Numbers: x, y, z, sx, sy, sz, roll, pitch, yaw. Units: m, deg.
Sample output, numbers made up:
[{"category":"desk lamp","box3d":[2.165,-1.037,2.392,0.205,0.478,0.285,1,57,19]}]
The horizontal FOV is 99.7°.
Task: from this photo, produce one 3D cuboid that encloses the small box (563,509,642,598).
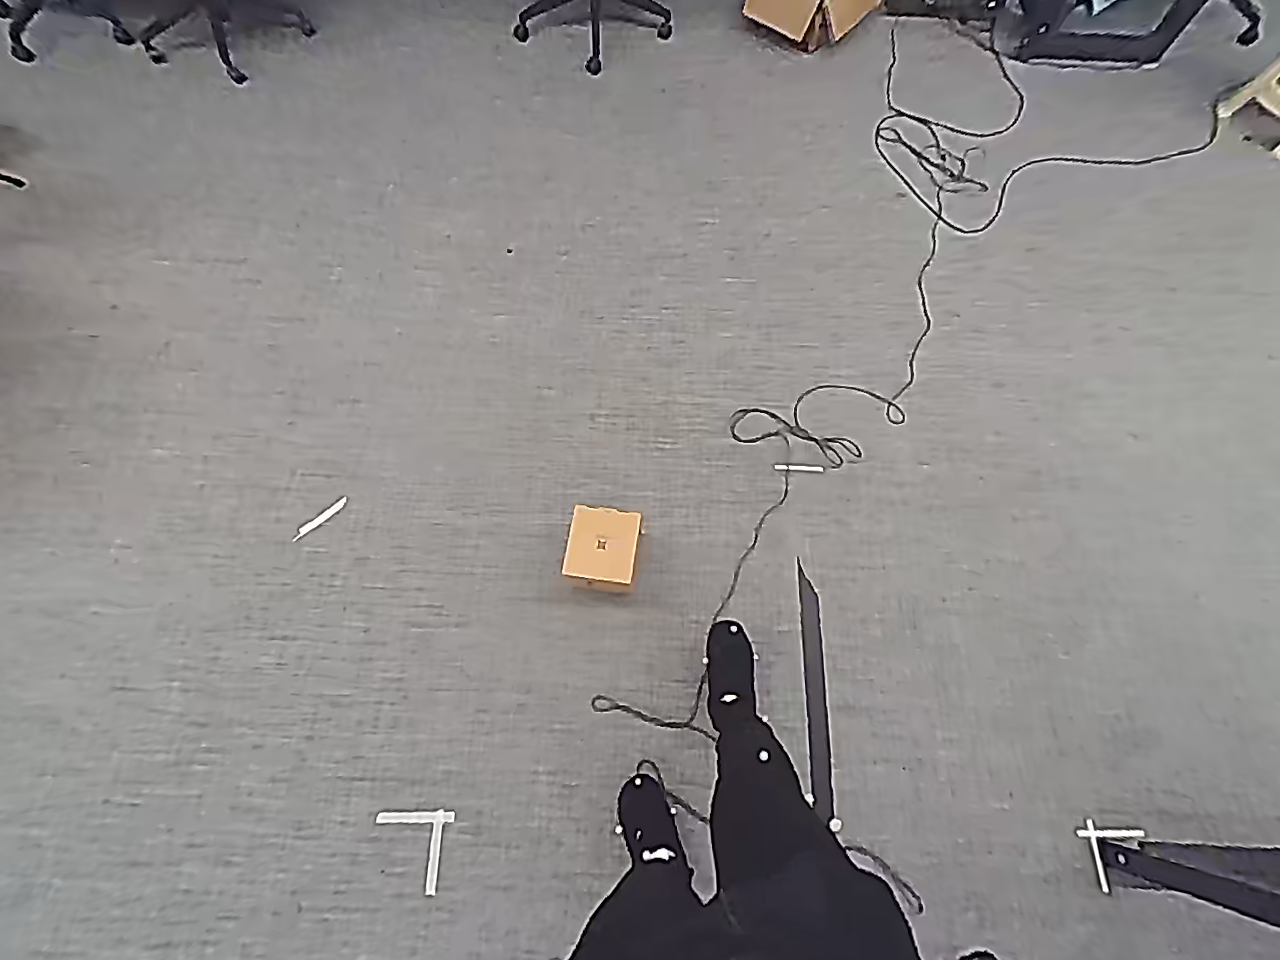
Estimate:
[{"category":"small box","box3d":[-0.087,0.190,1.356,0.168,0.176,0.179,7,68,3]}]
